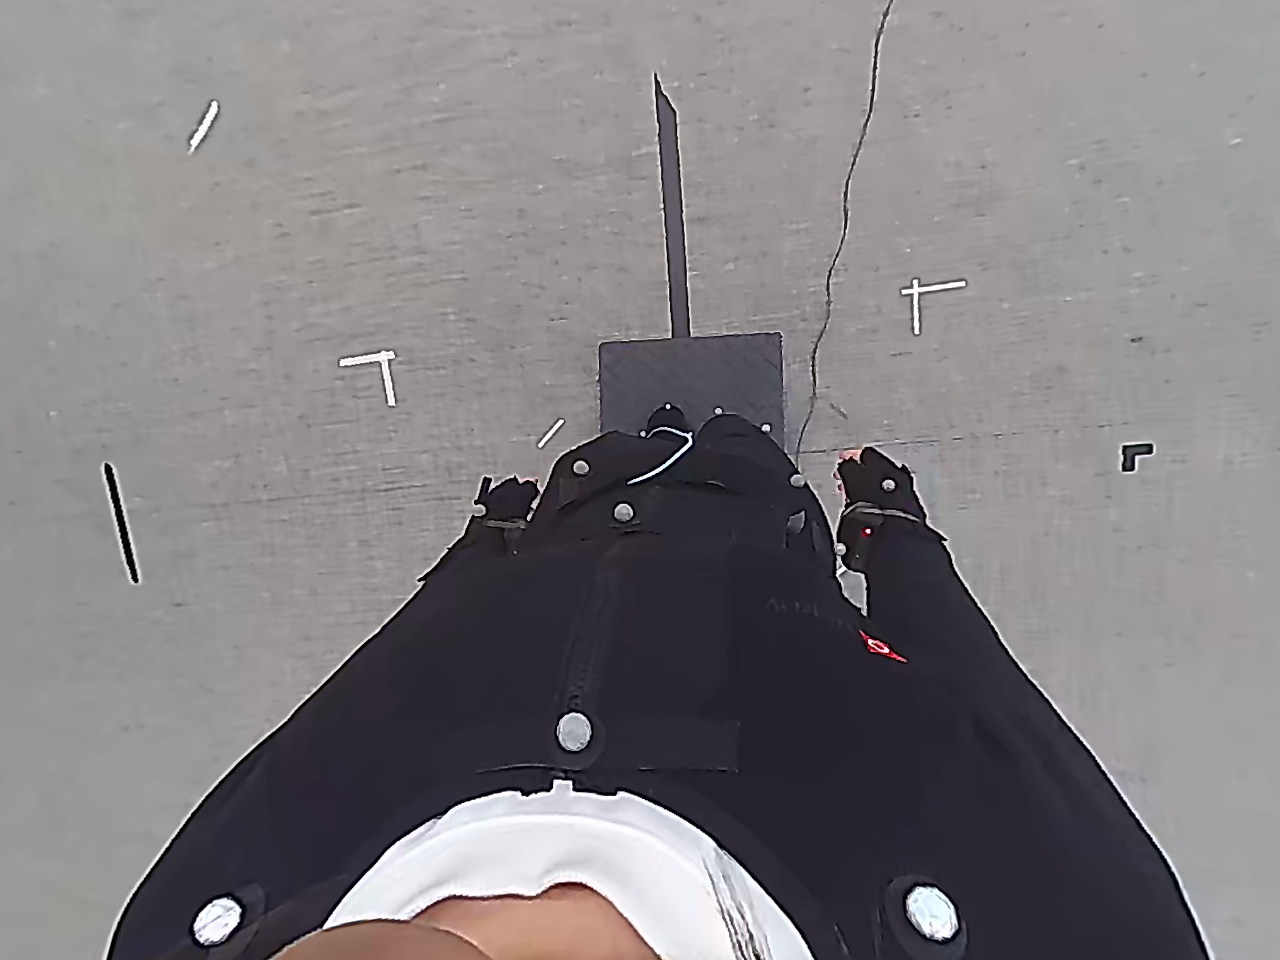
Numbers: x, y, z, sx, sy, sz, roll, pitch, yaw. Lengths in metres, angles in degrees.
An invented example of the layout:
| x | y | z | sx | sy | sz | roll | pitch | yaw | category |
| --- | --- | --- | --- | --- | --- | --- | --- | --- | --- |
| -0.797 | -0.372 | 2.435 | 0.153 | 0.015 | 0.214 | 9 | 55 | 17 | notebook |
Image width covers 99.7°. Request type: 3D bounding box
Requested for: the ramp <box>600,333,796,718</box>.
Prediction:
| x | y | z | sx | sy | sz | roll | pitch | yaw | category |
| --- | --- | --- | --- | --- | --- | --- | --- | --- | --- |
| 0.143 | 0.117 | 1.435 | 0.509 | 0.206 | 0.991 | -3 | 97 | 8 | ramp |
